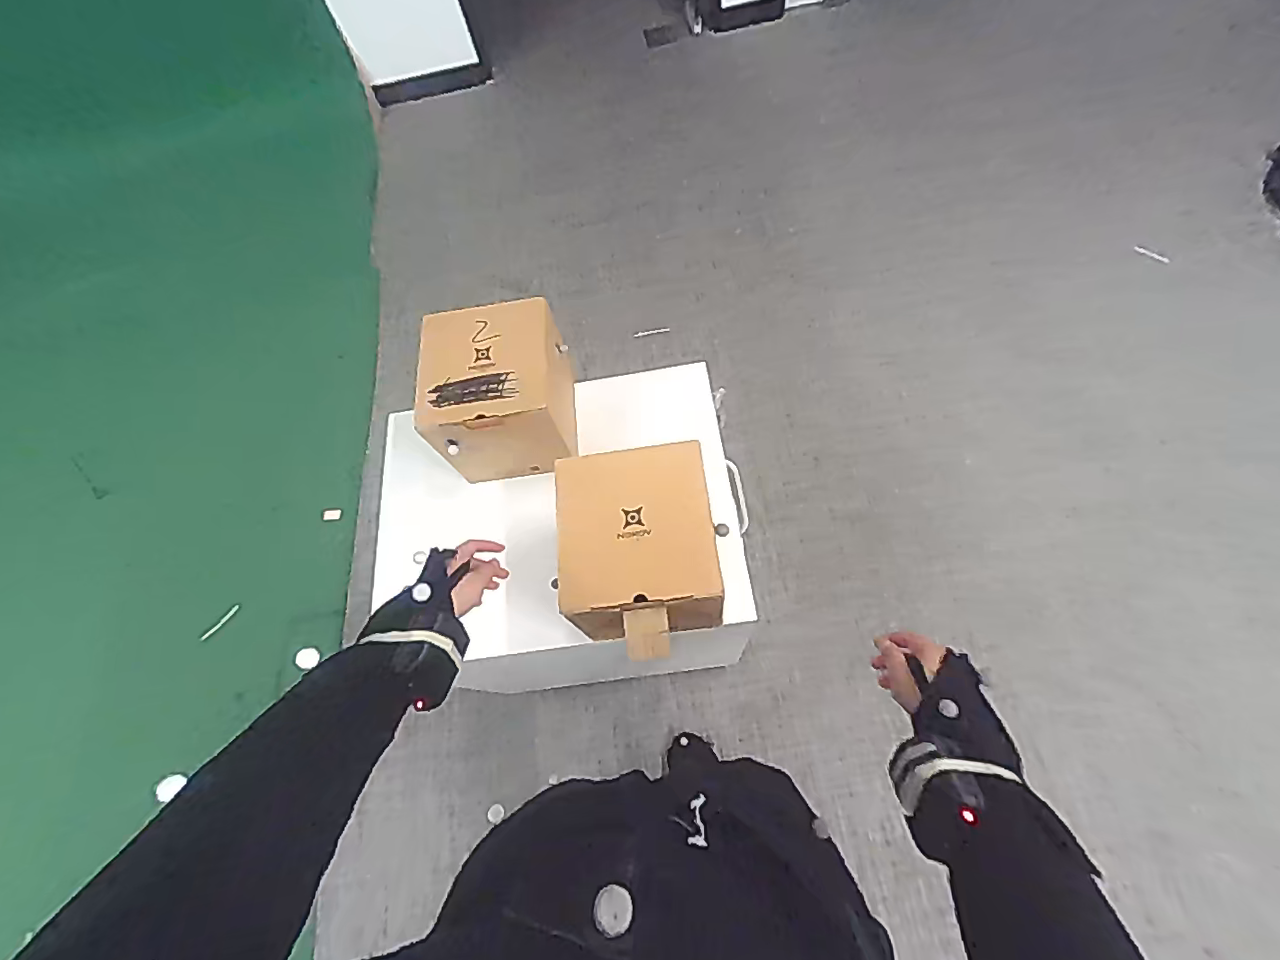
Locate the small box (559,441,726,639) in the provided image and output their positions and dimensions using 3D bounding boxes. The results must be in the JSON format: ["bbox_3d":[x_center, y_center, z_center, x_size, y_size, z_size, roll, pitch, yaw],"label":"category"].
[{"bbox_3d":[0.004,0.077,0.634,0.168,0.176,0.179,-8,65,4],"label":"small box"}]
